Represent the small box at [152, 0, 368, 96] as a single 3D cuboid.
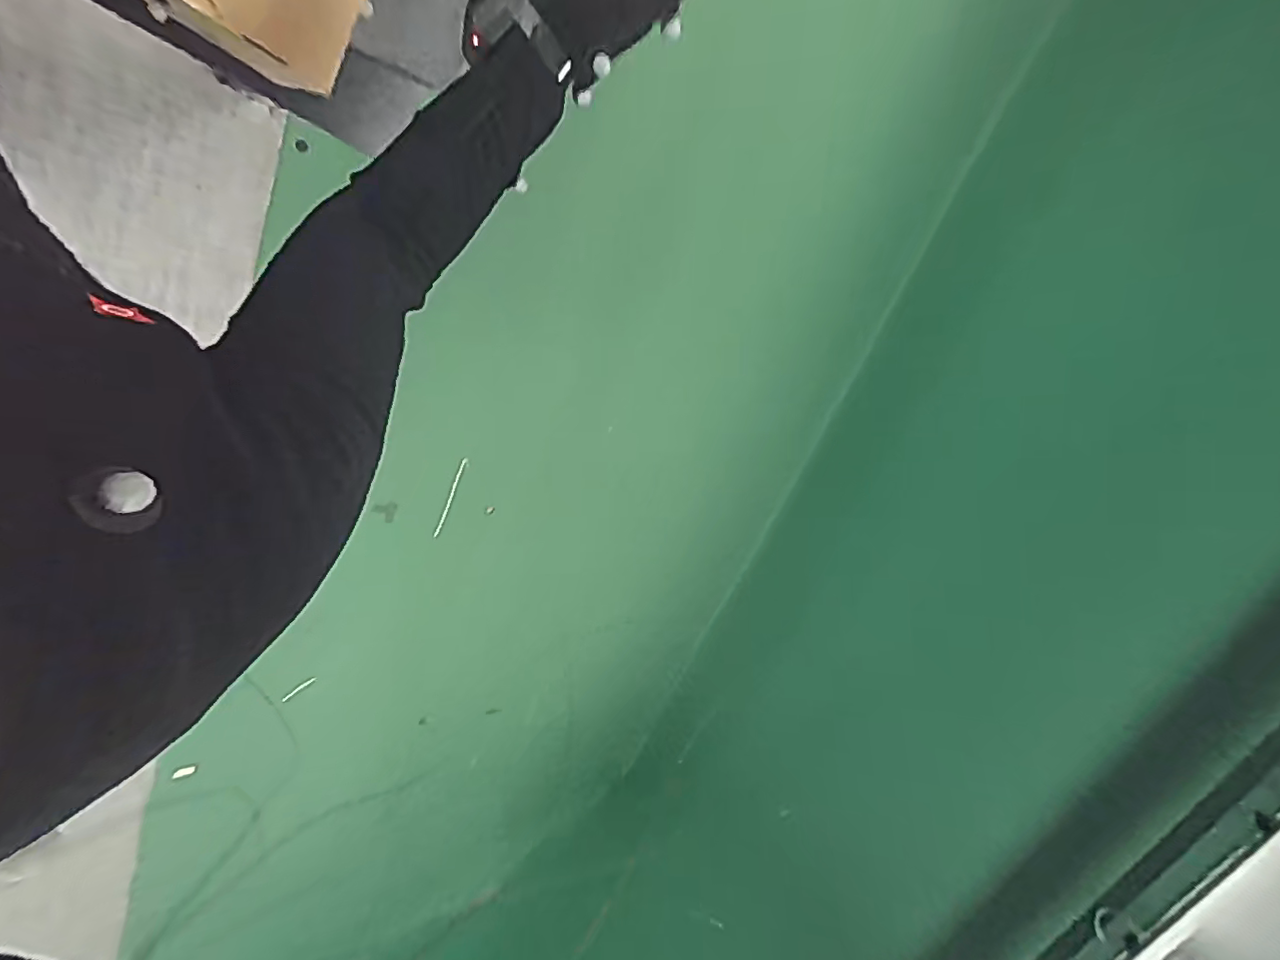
[{"bbox_3d":[-0.308,-0.435,0.402,0.168,0.176,0.179,14,110,-52],"label":"small box"}]
